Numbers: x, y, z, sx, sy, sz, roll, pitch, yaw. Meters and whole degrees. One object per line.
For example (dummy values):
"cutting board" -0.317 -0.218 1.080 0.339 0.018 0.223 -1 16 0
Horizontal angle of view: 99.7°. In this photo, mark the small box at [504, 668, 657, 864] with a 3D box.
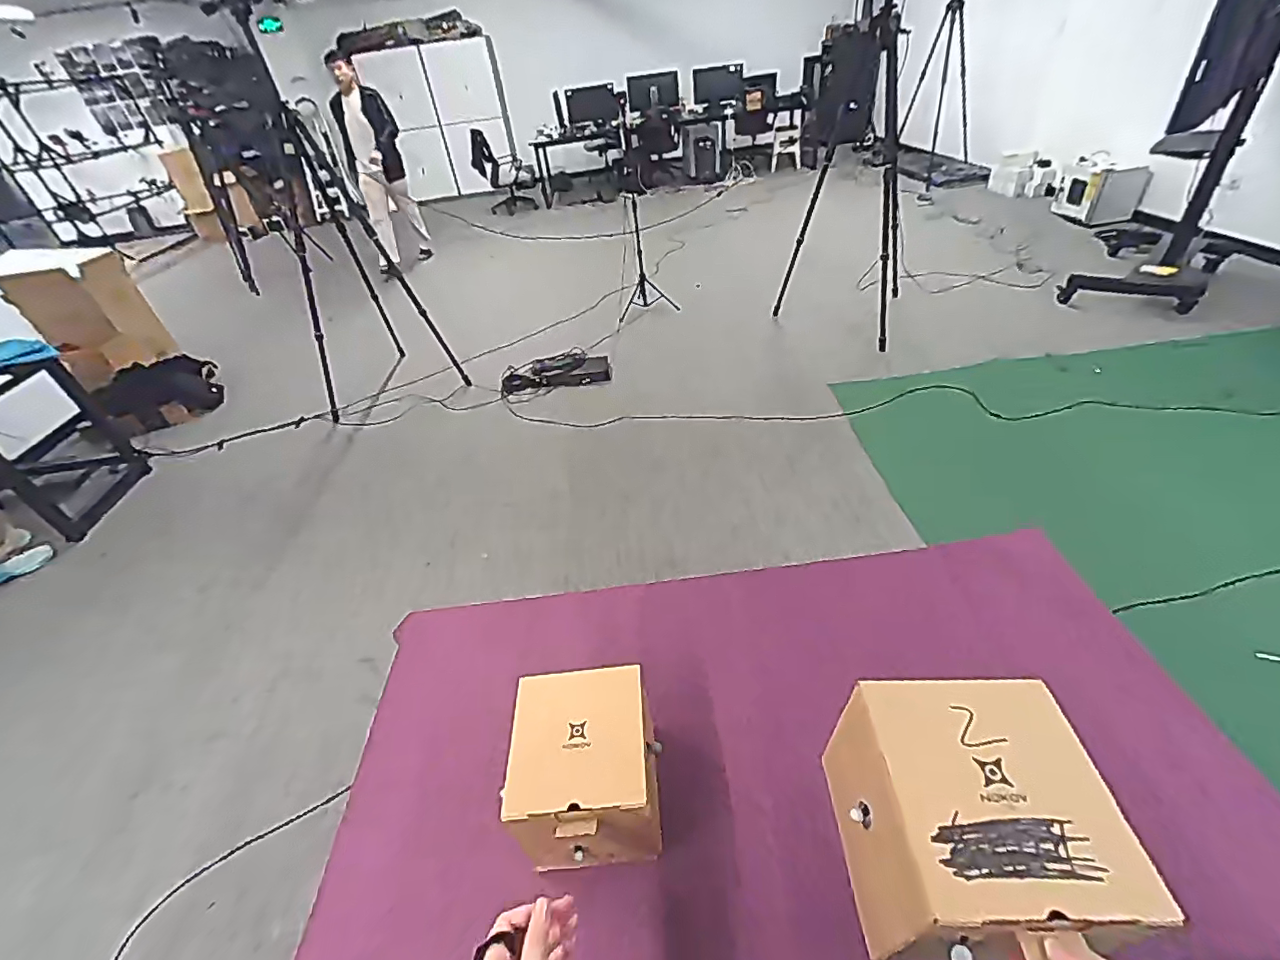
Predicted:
"small box" -0.069 0.380 0.723 0.168 0.176 0.179 -7 39 2
